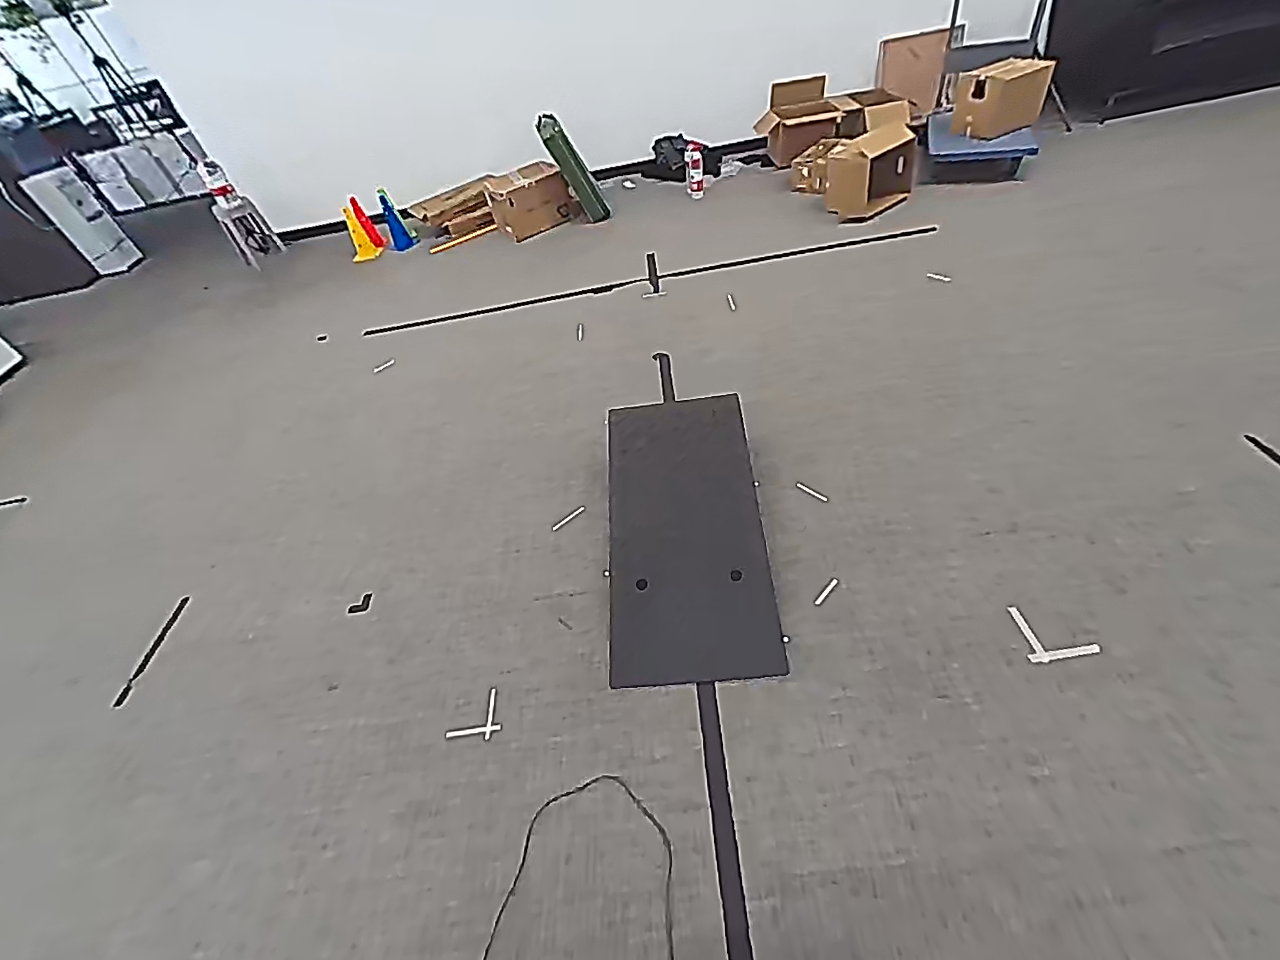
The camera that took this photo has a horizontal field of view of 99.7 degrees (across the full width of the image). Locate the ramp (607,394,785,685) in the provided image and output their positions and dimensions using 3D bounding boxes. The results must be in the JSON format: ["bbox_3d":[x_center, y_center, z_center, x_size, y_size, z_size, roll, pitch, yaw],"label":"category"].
[{"bbox_3d":[0.137,0.128,1.752,0.509,0.206,0.991,-7,46,4],"label":"ramp"}]
